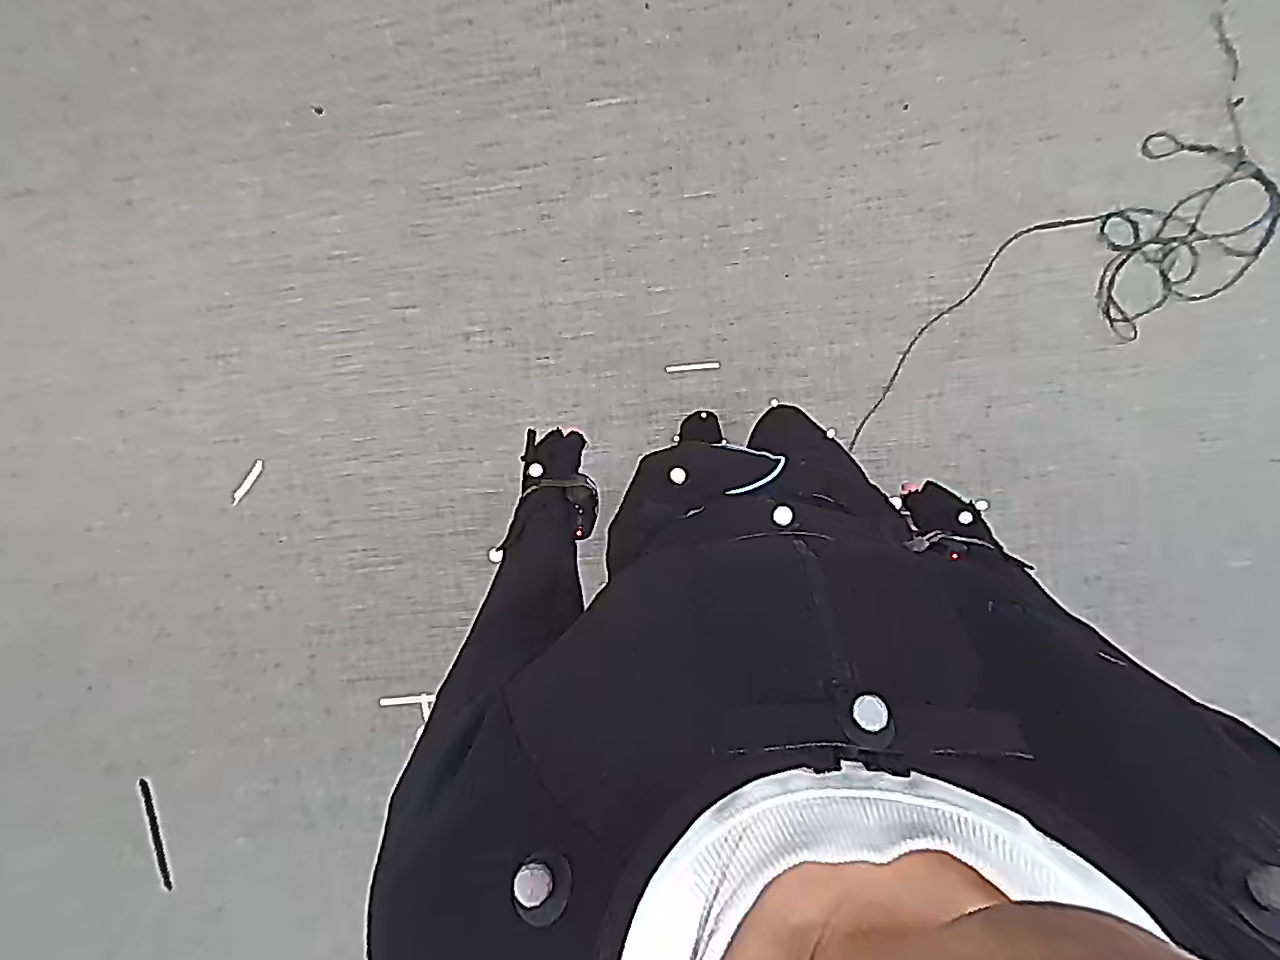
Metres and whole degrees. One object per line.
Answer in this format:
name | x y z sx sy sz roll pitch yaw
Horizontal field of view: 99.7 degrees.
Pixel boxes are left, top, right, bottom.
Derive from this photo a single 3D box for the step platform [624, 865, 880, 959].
step platform | 0.297 1.277 1.494 0.684 0.204 0.286 -6 96 7
